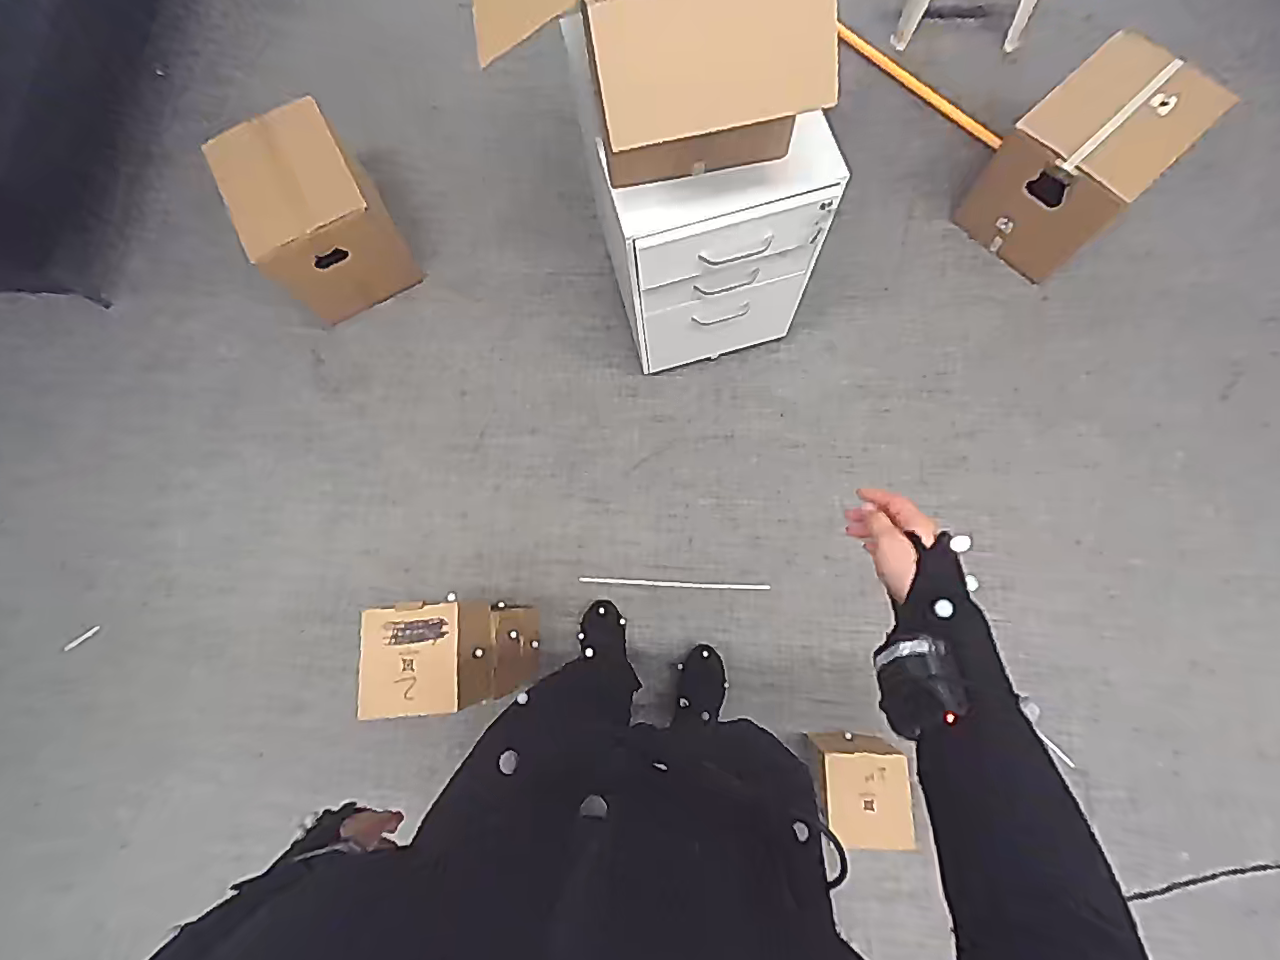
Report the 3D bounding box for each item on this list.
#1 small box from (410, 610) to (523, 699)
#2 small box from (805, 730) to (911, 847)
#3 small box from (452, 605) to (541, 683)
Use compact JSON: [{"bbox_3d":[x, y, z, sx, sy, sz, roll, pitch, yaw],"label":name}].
[{"bbox_3d":[-0.352,0.358,1.129,0.179,0.176,0.168,-3,75,5],"label":"small box"},{"bbox_3d":[0.458,0.652,1.160,0.168,0.176,0.179,0,77,4],"label":"small box"},{"bbox_3d":[-0.341,0.385,1.290,0.179,0.176,0.168,0,76,4],"label":"small box"}]
